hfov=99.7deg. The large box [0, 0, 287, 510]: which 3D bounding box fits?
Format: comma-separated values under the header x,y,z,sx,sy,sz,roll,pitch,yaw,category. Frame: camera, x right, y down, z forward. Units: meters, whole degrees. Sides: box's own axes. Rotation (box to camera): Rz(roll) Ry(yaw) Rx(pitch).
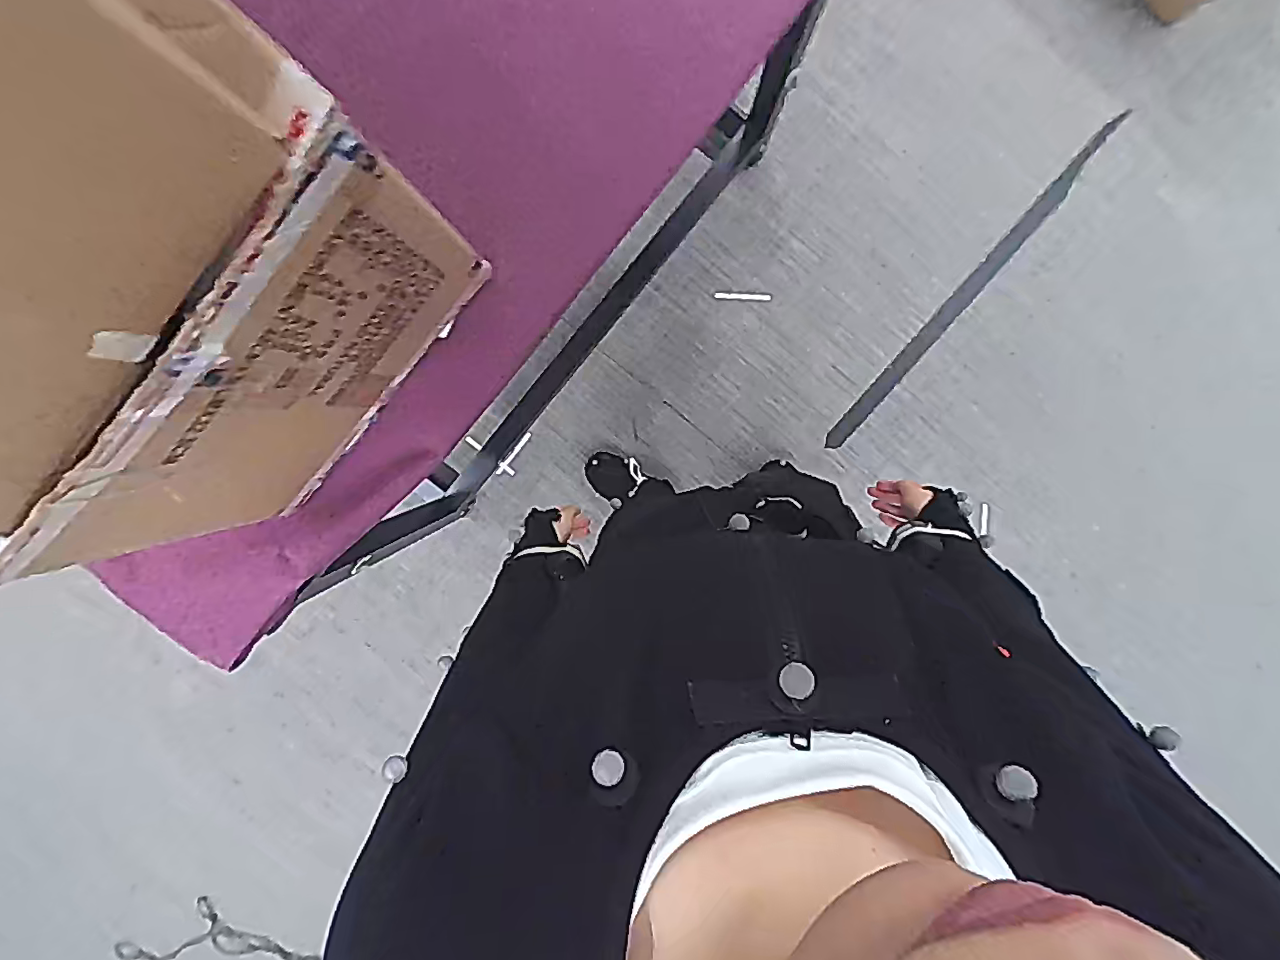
x,y,z,sx,sy,sz,roll,pitch,yaw,category
-0.454,-0.203,0.177,0.408,0.320,0.320,39,96,-3,large box
